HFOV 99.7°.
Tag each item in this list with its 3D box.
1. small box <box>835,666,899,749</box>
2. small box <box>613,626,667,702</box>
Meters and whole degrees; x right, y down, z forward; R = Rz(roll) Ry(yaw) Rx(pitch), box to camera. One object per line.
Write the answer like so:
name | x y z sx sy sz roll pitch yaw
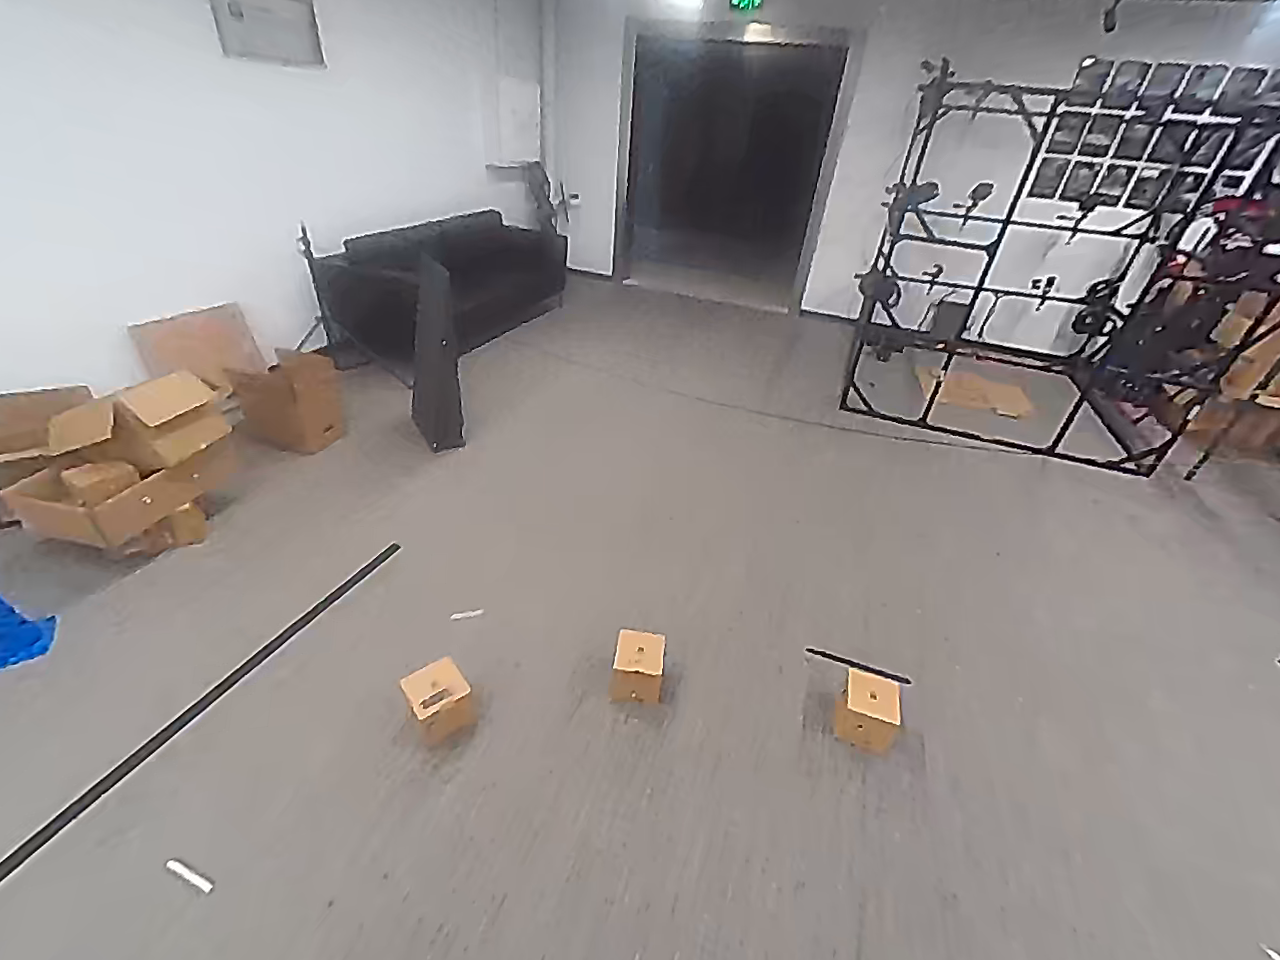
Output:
small box | 0.769 0.776 1.840 0.168 0.176 0.179 15 34 14
small box | -0.003 0.650 1.912 0.168 0.176 0.179 8 34 3
